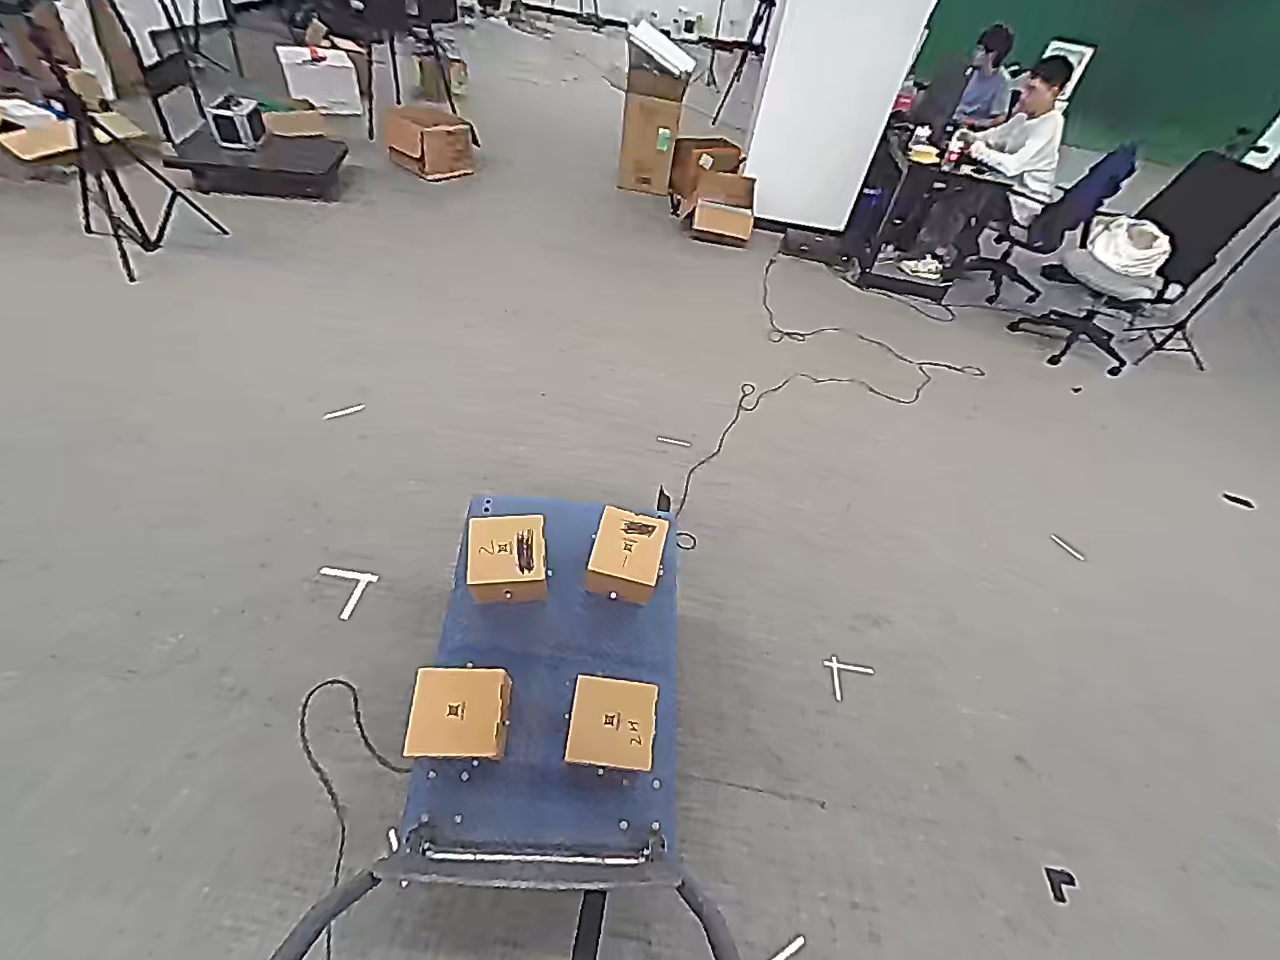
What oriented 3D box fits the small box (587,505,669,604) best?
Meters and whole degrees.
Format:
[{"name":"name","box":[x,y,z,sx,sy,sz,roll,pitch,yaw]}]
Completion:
[{"name":"small box","box":[-0.034,0.192,1.368,0.168,0.176,0.179,15,61,0]}]

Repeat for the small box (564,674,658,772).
[{"name":"small box","box":[-0.065,0.533,1.176,0.179,0.176,0.168,9,61,-3]}]

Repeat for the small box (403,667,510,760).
[{"name":"small box","box":[-0.380,0.500,1.150,0.179,0.176,0.168,4,61,-8]}]
